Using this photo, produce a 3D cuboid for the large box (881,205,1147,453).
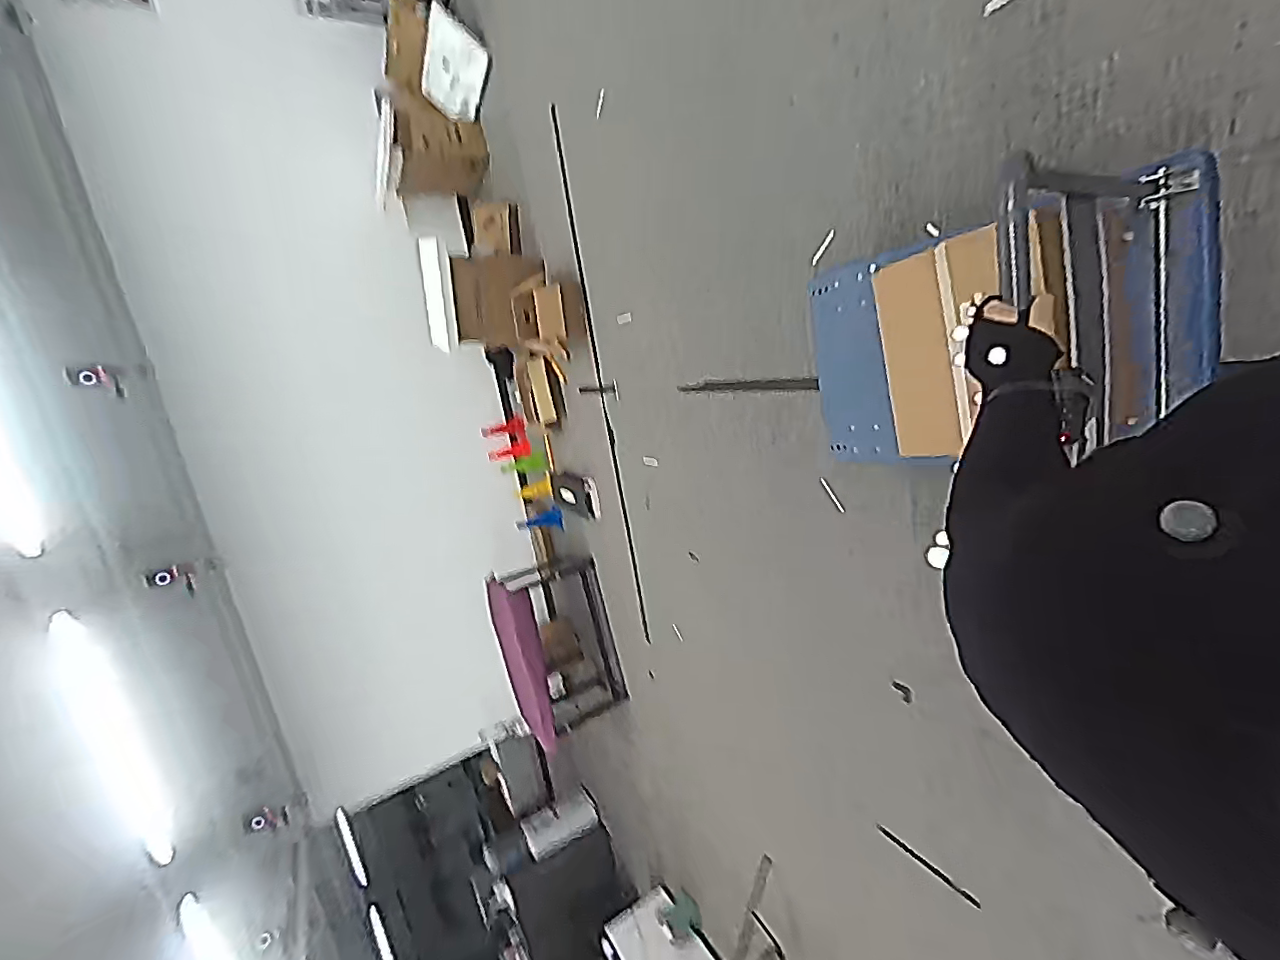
[{"bbox_3d":[0.746,-0.285,1.090,0.320,0.320,0.408,0,103,60],"label":"large box"}]
